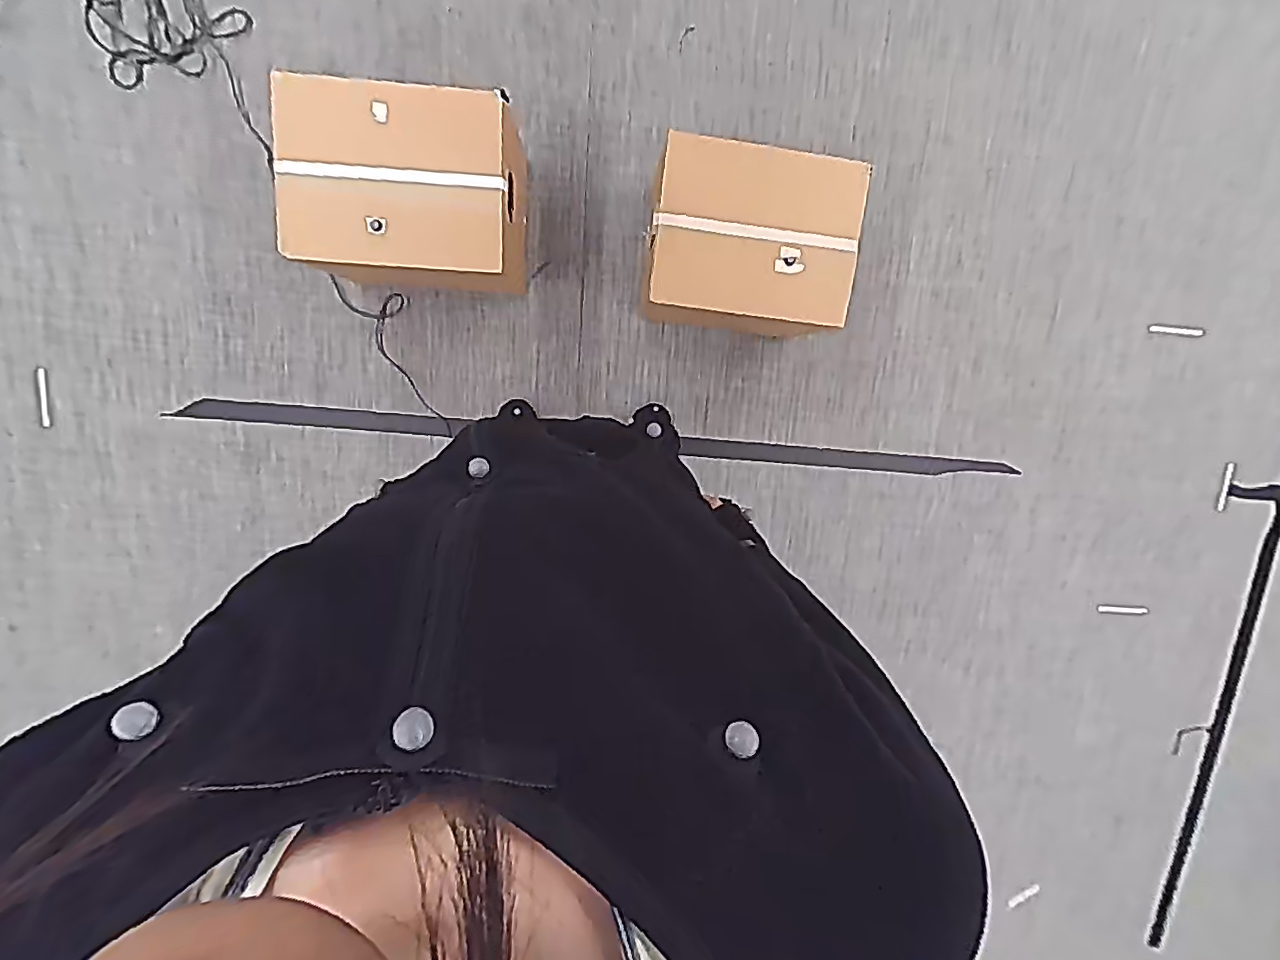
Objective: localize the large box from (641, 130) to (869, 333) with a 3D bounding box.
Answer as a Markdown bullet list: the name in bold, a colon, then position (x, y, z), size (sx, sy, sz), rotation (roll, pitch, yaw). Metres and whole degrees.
- **large box**: position (0.224, -0.519, 1.207), size (0.408, 0.320, 0.320), rotation (6, 101, -6)
